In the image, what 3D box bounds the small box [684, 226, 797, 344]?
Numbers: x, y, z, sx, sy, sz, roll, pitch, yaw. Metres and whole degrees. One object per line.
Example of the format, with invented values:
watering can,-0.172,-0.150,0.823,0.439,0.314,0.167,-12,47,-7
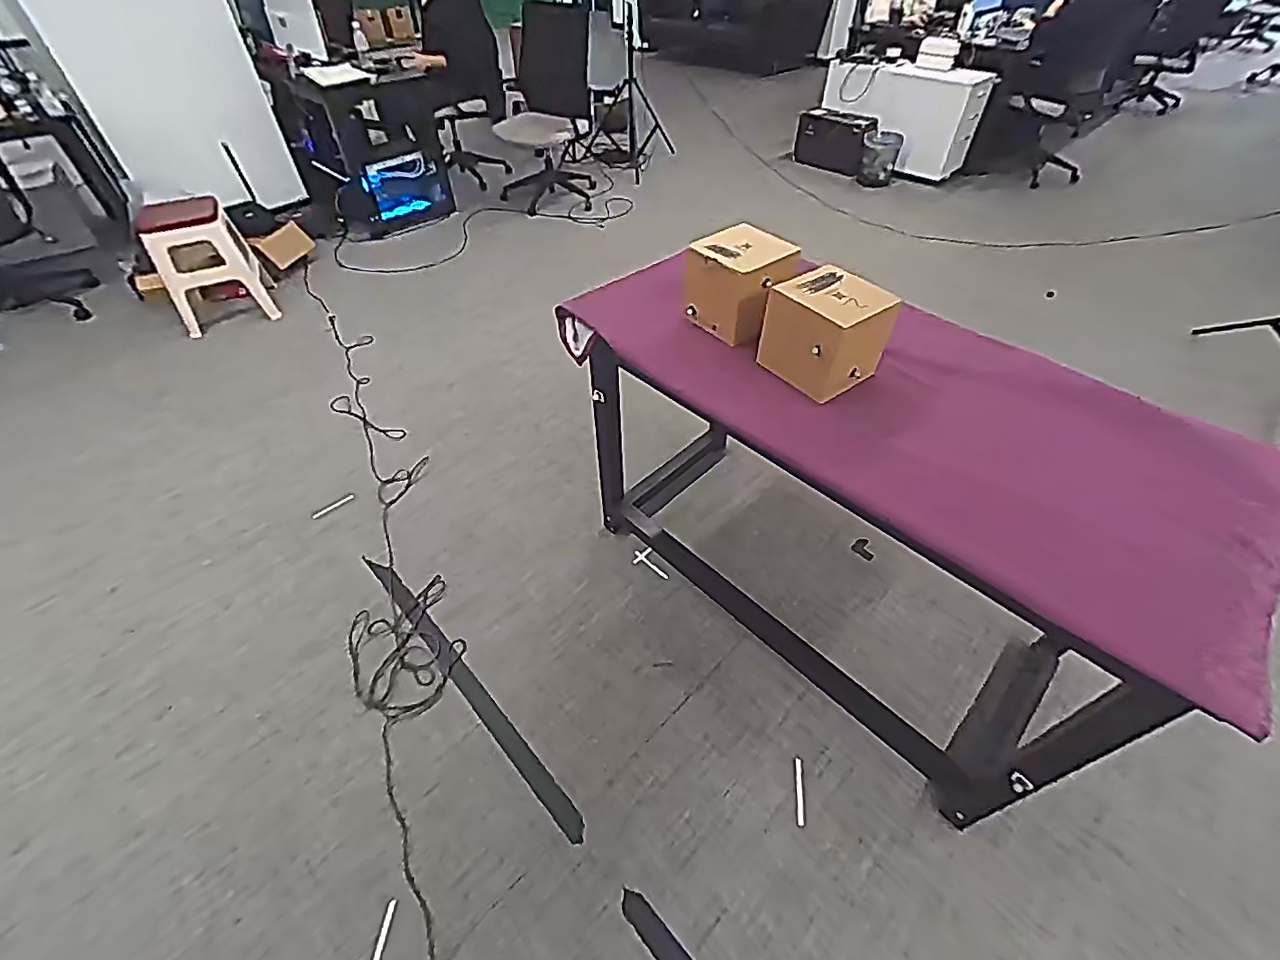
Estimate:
small box,0.212,-0.425,1.184,0.179,0.176,0.168,-31,55,-25
